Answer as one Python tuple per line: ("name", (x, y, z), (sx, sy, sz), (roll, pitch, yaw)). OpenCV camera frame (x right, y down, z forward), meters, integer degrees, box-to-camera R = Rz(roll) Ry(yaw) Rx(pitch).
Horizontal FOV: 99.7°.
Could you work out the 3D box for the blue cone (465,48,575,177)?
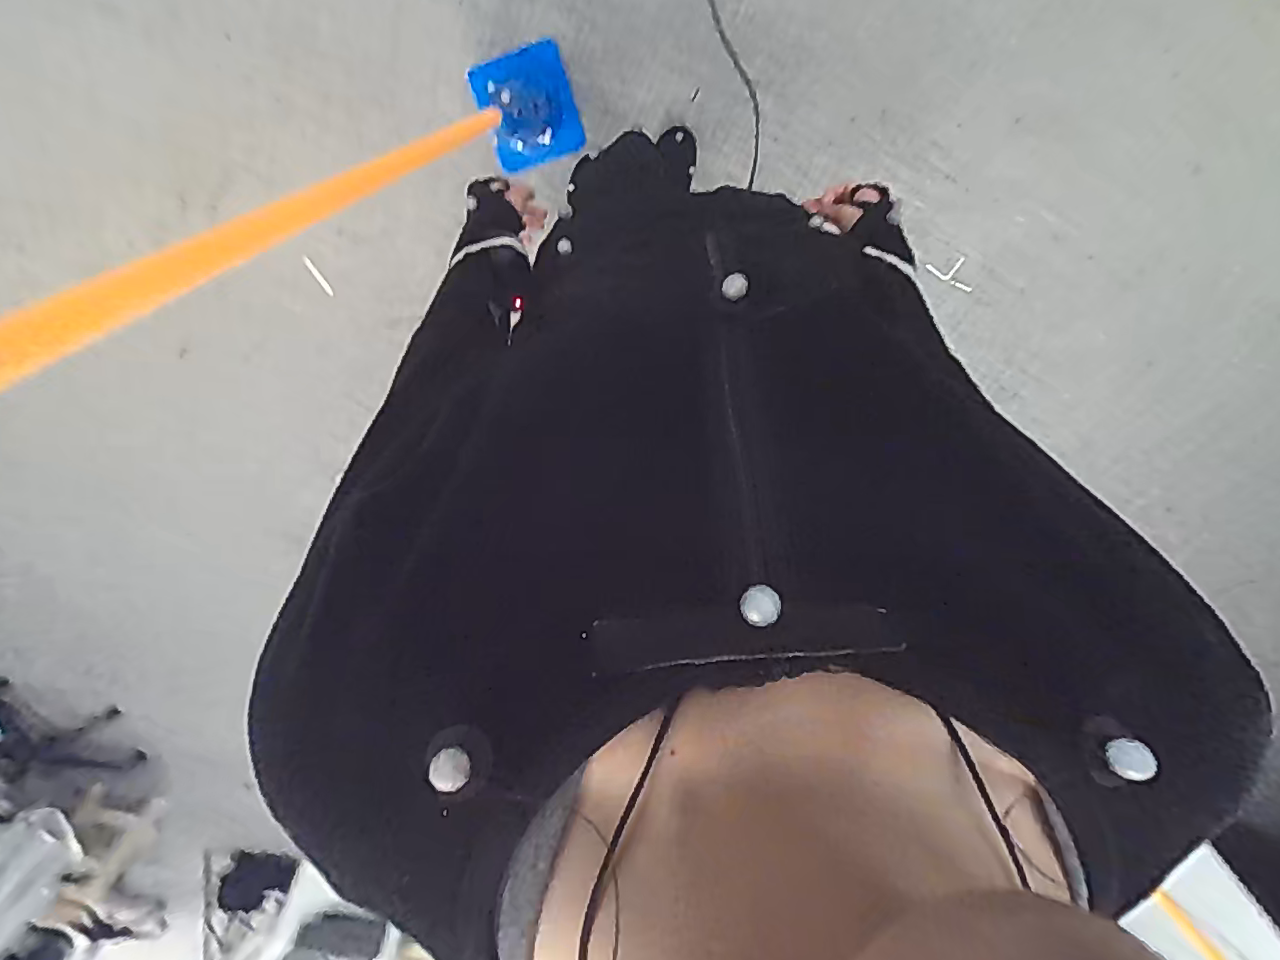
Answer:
("blue cone", (-0.245, -0.653, 0.991), (0.193, 0.380, 0.192), (-15, 125, 11))
